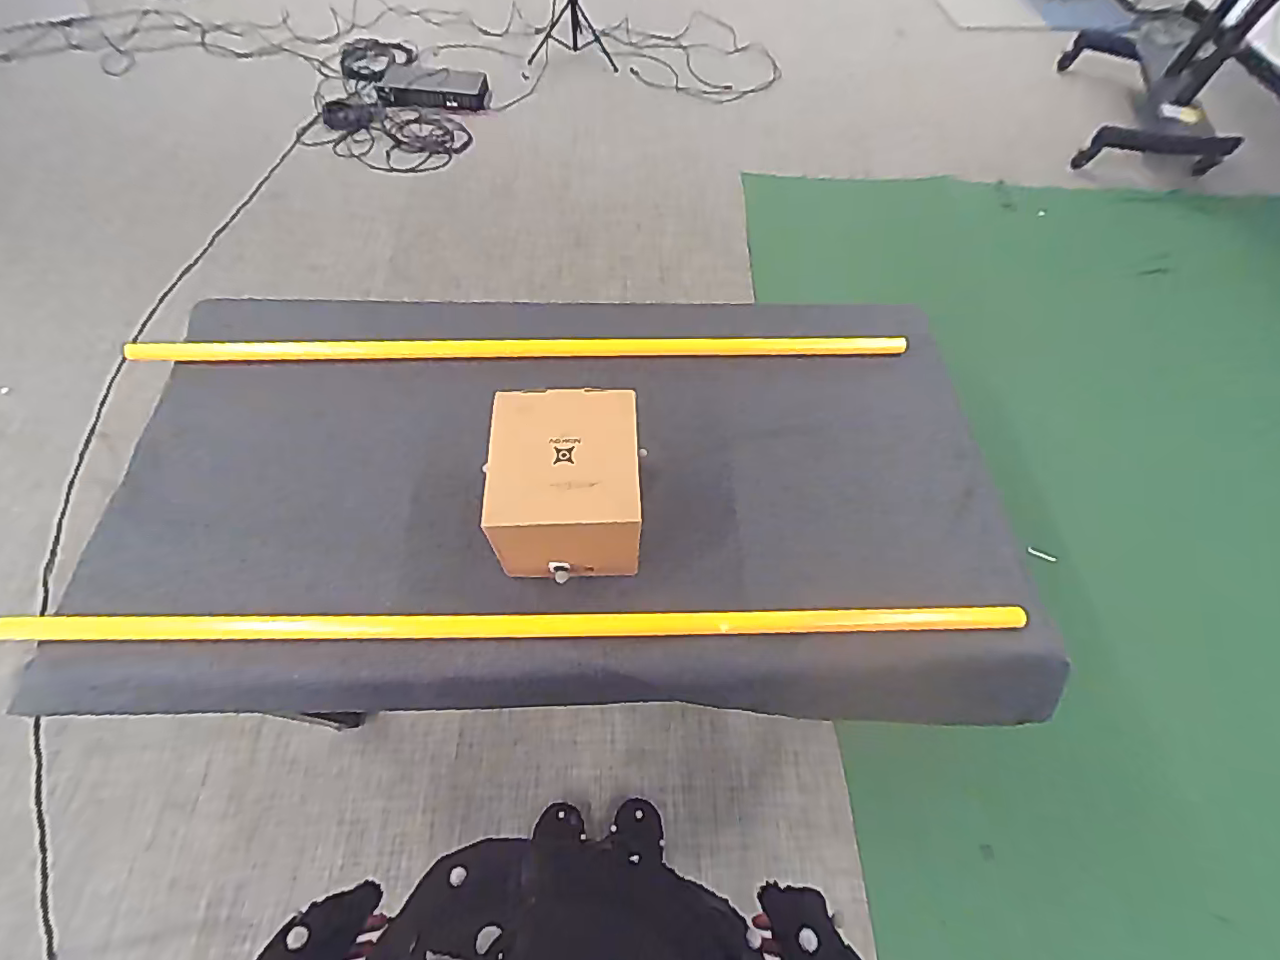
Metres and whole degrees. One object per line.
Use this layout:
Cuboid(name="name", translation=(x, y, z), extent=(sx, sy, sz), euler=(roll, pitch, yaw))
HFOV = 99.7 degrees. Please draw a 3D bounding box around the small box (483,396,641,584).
Cuboid(name="small box", translation=(-0.087, 0.016, 0.669), extent=(0.168, 0.176, 0.179), euler=(-2, 61, -3))
